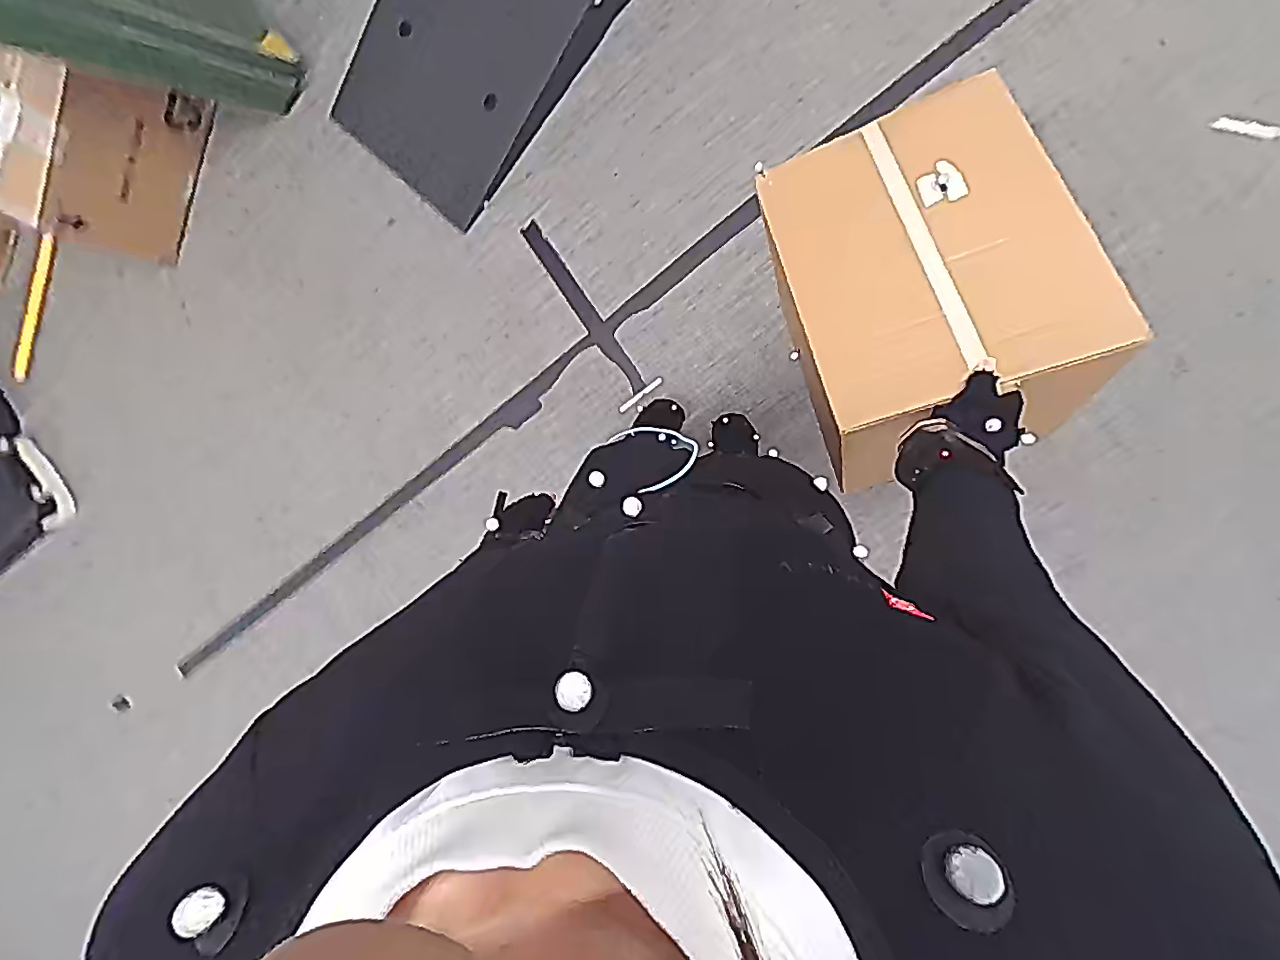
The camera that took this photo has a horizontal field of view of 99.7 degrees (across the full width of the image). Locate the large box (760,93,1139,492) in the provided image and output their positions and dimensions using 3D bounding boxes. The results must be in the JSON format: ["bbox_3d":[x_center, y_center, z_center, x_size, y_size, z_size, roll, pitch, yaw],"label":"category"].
[{"bbox_3d":[0.403,-0.241,0.809,0.320,0.320,0.408,-17,69,15],"label":"large box"}]
